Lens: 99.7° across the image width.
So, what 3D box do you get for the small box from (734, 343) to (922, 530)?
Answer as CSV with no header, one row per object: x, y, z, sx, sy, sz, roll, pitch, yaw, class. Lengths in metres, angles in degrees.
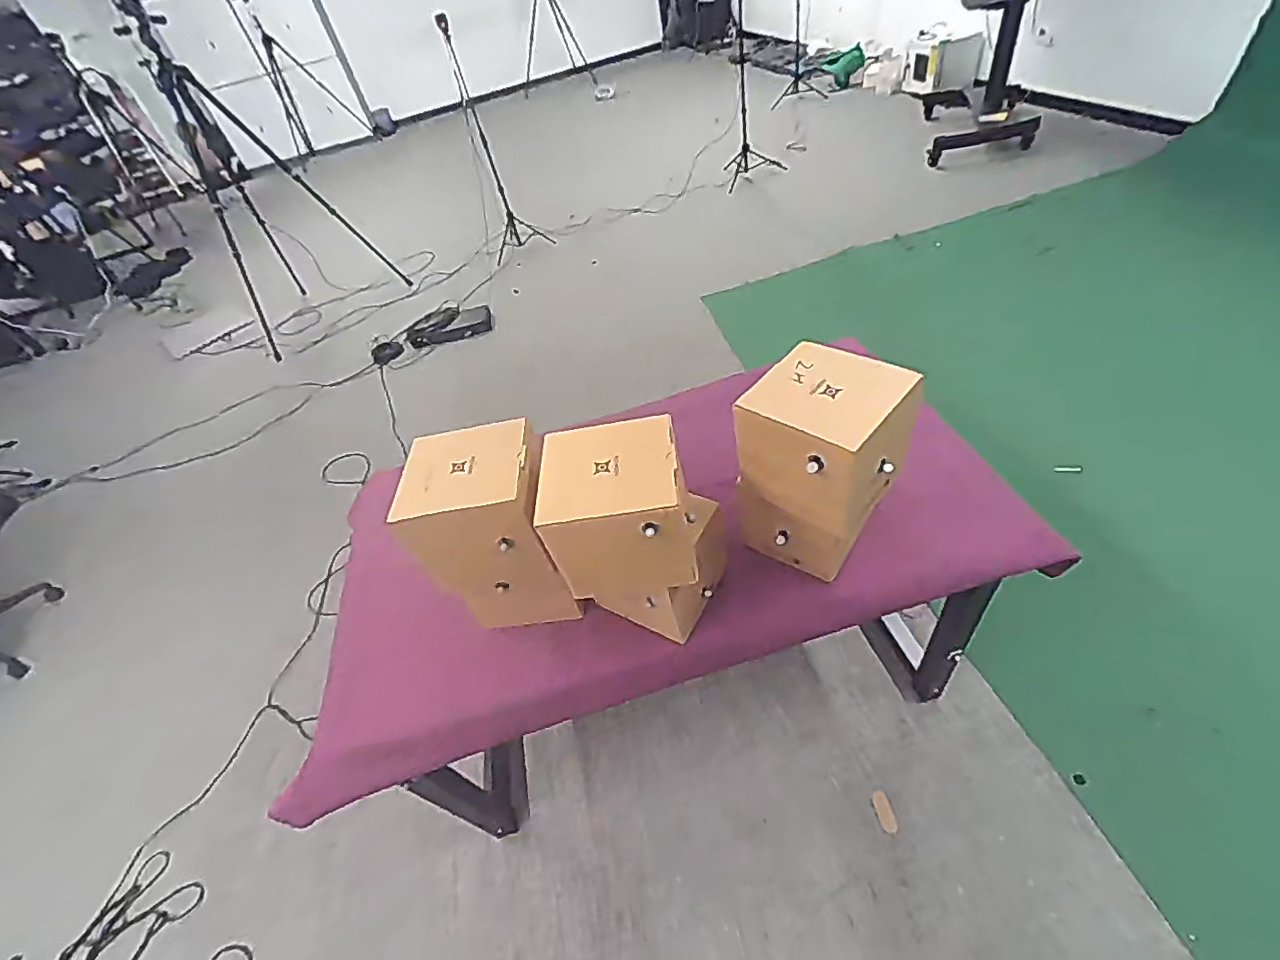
0.254,-0.057,0.748,0.179,0.176,0.168,29,60,37,small box

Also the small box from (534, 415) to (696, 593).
-0.026,0.038,0.734,0.179,0.176,0.168,-9,46,6,small box

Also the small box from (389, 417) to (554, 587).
-0.224,0.036,0.788,0.179,0.176,0.168,-10,45,5,small box

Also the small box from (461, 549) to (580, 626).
-0.198,0.136,0.919,0.179,0.176,0.168,-1,46,5,small box

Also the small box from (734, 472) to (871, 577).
0.277,0.028,0.893,0.168,0.176,0.179,23,57,32,small box
